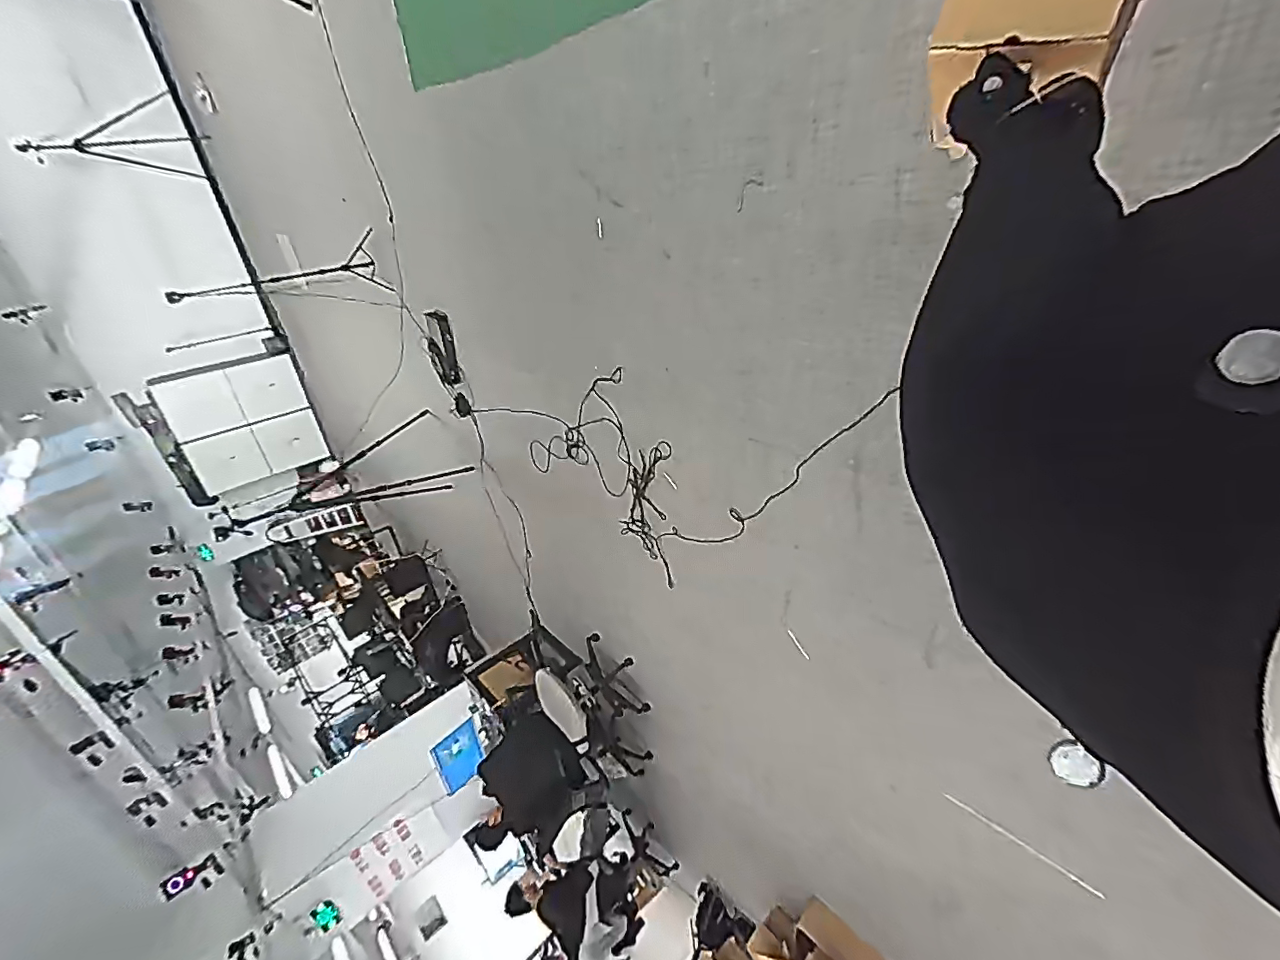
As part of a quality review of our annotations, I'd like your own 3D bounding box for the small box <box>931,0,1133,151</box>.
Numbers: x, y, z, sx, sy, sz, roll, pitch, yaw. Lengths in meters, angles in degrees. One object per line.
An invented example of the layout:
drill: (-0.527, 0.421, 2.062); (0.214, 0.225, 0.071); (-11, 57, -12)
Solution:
small box: (0.459, -0.524, 0.631); (0.168, 0.176, 0.179); (22, 95, 31)
